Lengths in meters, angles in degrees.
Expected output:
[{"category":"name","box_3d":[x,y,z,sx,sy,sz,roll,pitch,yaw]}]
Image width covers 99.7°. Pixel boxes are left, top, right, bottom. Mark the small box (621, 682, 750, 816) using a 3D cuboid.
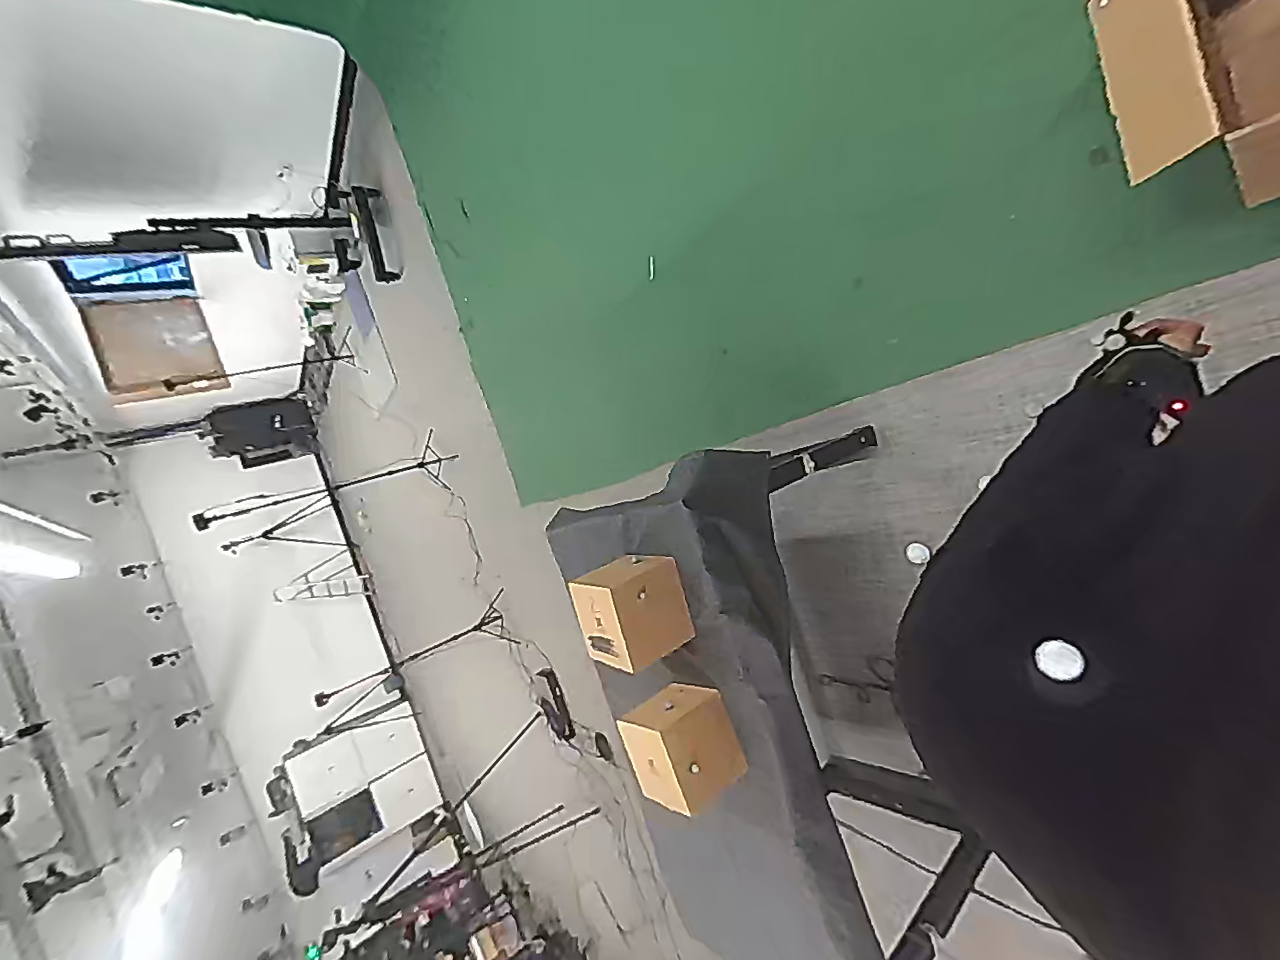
[{"category":"small box","box_3d":[0.094,0.540,1.117,0.168,0.176,0.179,-22,89,54]}]
